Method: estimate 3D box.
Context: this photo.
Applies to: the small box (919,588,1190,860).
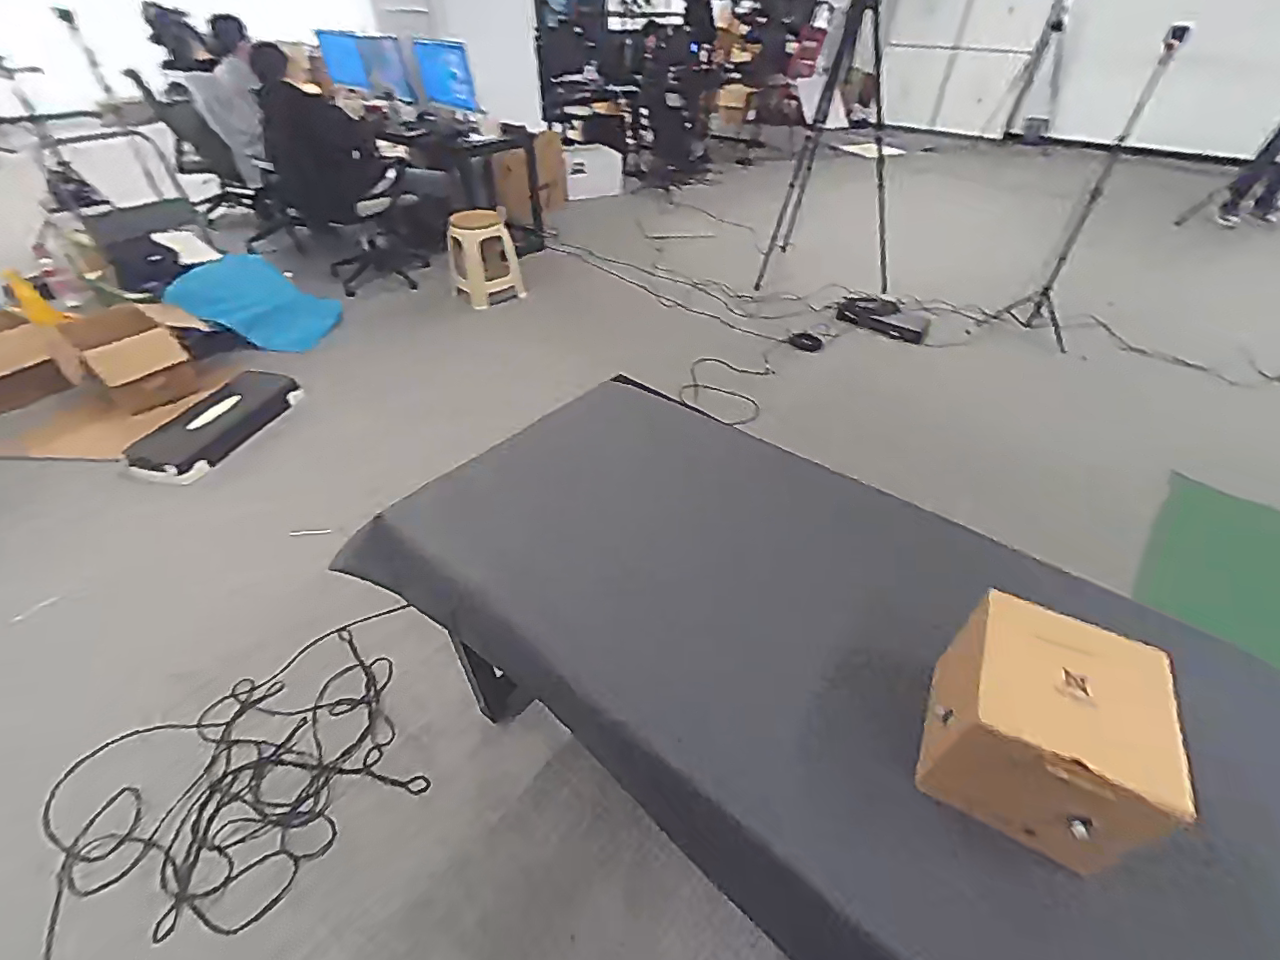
[{"bbox_3d":[0.417,0.256,0.576,0.168,0.176,0.179,21,44,21],"label":"small box"}]
